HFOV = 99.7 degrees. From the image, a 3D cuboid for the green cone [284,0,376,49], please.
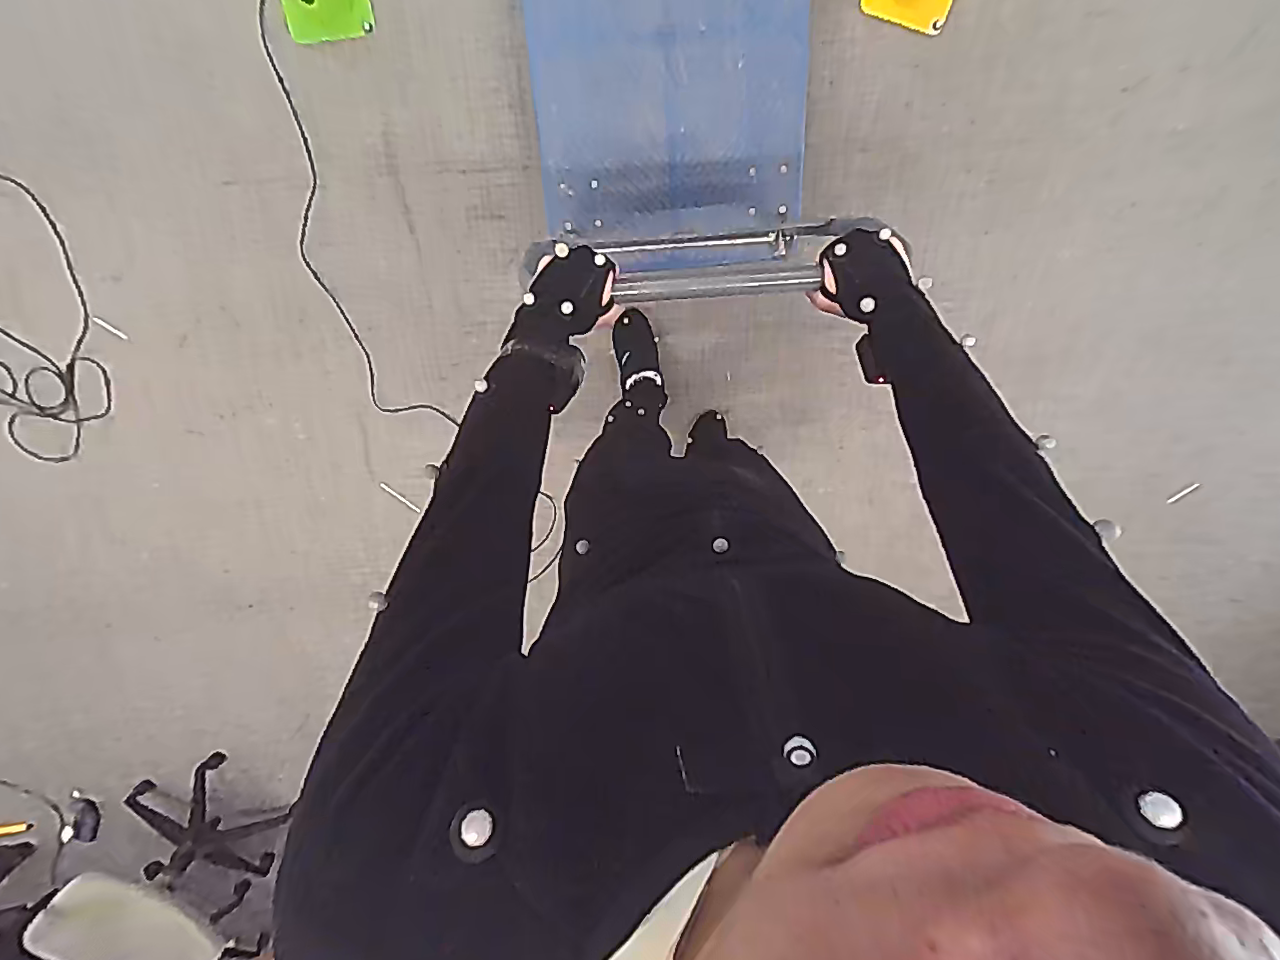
[{"bbox_3d":[-0.720,-1.045,1.060,0.202,0.368,0.200,-5,111,5],"label":"green cone"}]
